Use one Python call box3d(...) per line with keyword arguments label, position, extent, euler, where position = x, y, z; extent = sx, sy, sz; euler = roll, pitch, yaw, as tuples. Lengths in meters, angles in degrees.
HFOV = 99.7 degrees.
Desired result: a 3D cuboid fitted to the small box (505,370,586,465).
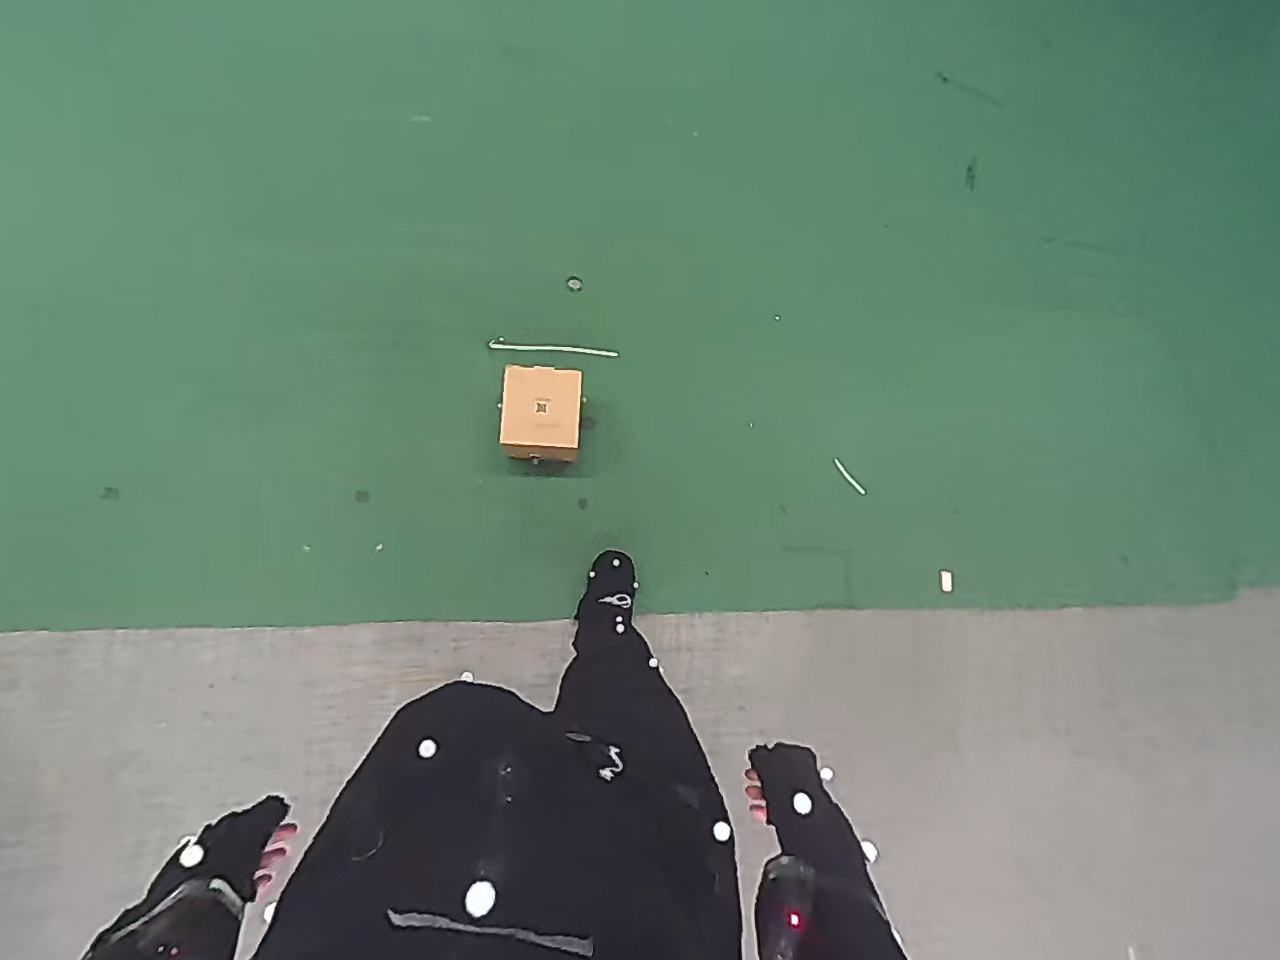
box3d(label="small box", position=(-0.215, -0.138, 1.244), extent=(0.168, 0.176, 0.179), euler=(3, 82, -7))
